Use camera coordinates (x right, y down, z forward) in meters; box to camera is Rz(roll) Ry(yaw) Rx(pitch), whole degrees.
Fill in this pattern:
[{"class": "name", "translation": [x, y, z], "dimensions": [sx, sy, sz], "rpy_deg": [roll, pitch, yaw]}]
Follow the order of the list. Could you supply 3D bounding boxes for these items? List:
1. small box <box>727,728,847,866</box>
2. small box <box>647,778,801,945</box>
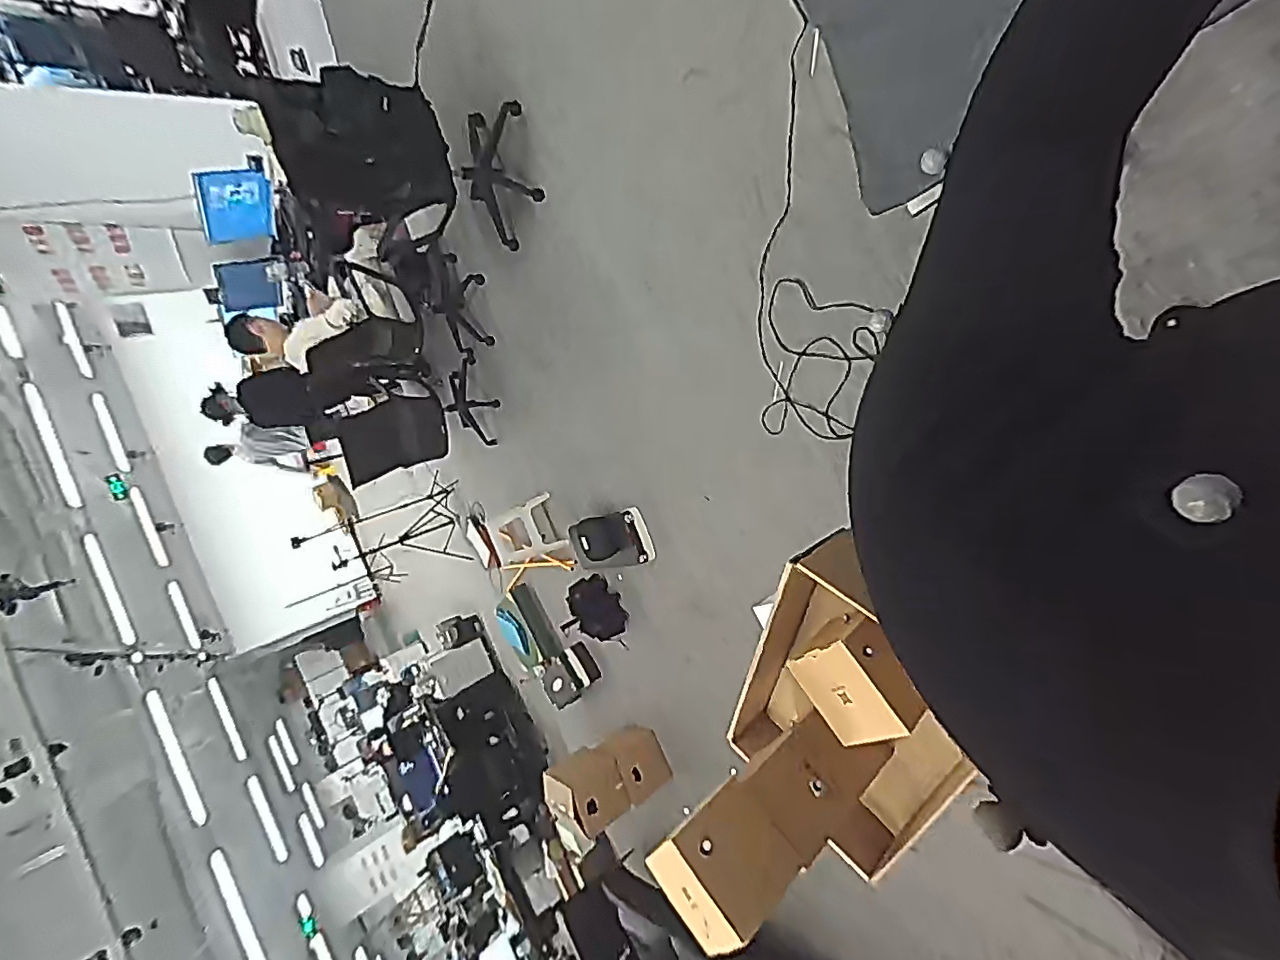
[{"class": "small box", "translation": [0.270, 0.629, 1.066], "dimensions": [0.168, 0.176, 0.179], "rpy_deg": [48, 139, 22]}, {"class": "small box", "translation": [0.147, 0.666, 0.962], "dimensions": [0.179, 0.176, 0.168], "rpy_deg": [45, 139, 25]}]
